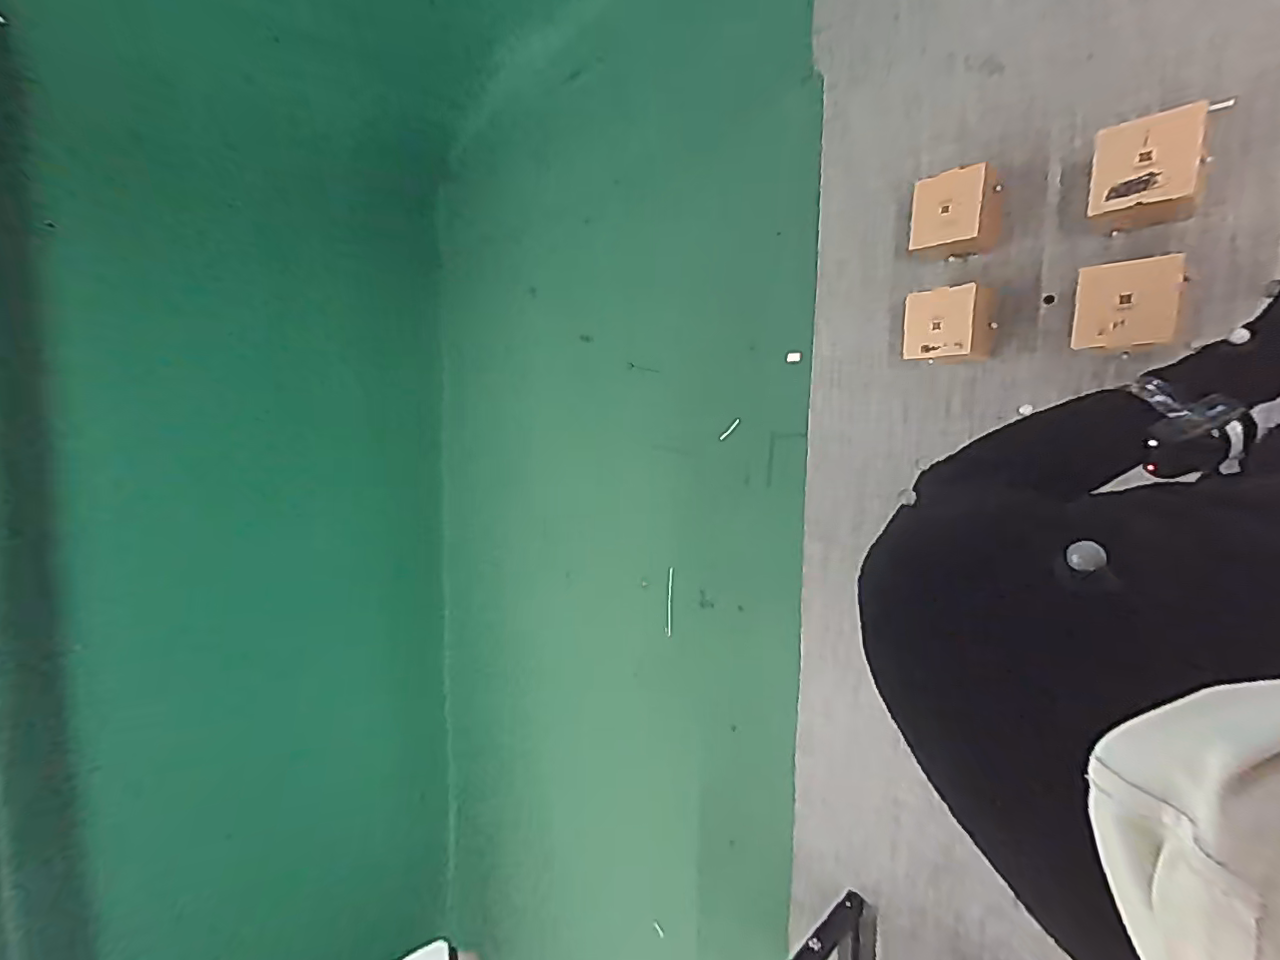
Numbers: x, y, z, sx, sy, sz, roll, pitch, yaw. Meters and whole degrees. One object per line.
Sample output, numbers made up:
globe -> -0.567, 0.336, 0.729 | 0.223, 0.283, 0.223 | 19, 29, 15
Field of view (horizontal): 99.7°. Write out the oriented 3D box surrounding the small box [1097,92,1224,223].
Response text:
small box -> 1.095, -0.659, 1.137 | 0.168, 0.176, 0.179 | 10, 100, 48

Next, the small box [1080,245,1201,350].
small box -> 1.084, -0.384, 1.170 | 0.168, 0.176, 0.179 | 10, 100, 48

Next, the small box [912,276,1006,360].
small box -> 0.850, -0.422, 1.437 | 0.168, 0.176, 0.179 | 8, 97, 49
